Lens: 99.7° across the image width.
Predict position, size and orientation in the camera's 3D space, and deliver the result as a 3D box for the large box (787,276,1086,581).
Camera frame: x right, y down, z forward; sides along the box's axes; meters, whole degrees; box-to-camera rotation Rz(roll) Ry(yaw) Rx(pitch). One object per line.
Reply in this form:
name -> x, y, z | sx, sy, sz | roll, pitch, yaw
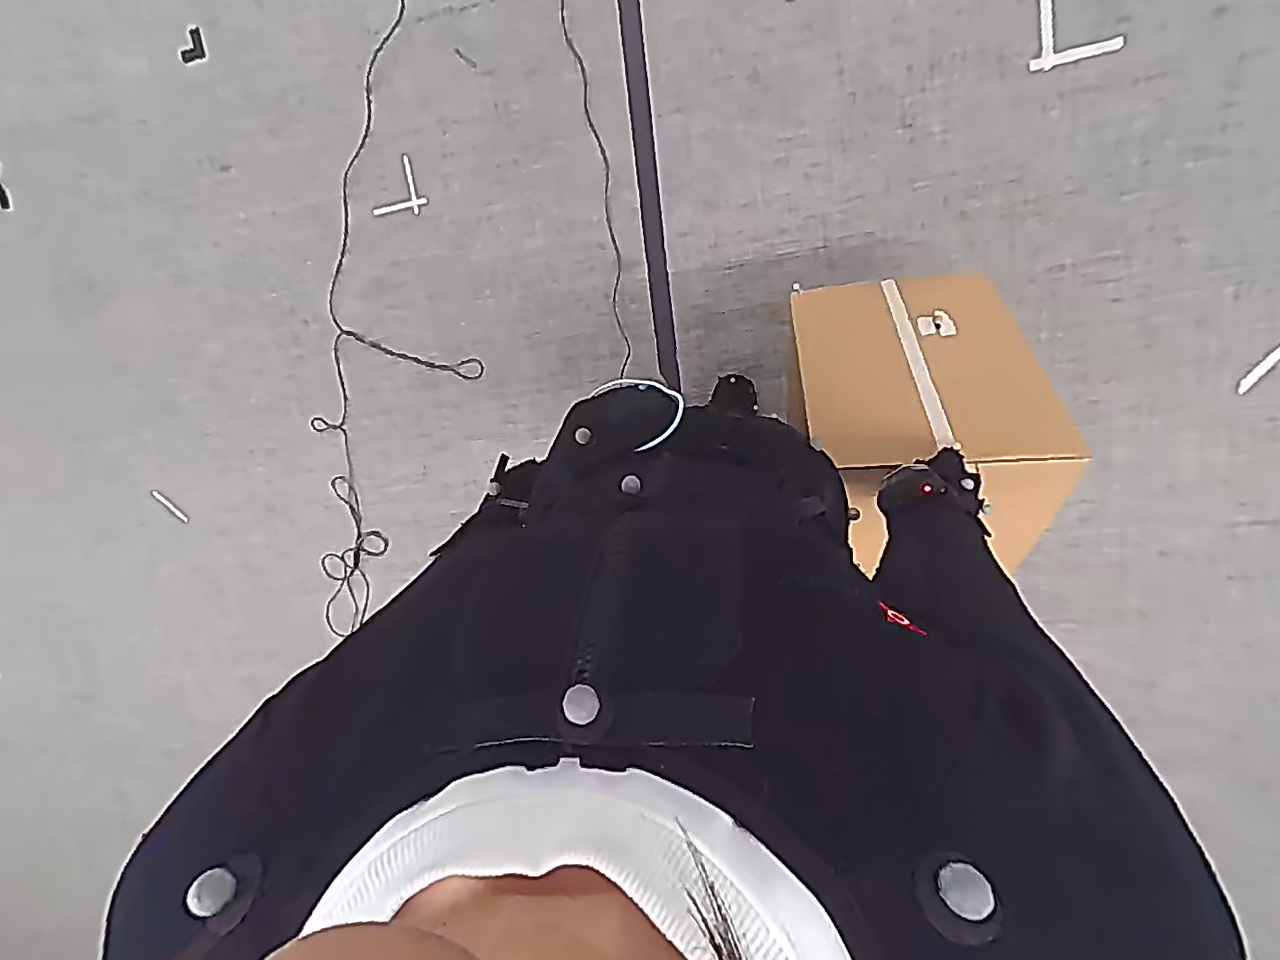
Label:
large box -> 0.426, -0.081, 0.907 | 0.320, 0.408, 0.320 | -2, 140, 10
